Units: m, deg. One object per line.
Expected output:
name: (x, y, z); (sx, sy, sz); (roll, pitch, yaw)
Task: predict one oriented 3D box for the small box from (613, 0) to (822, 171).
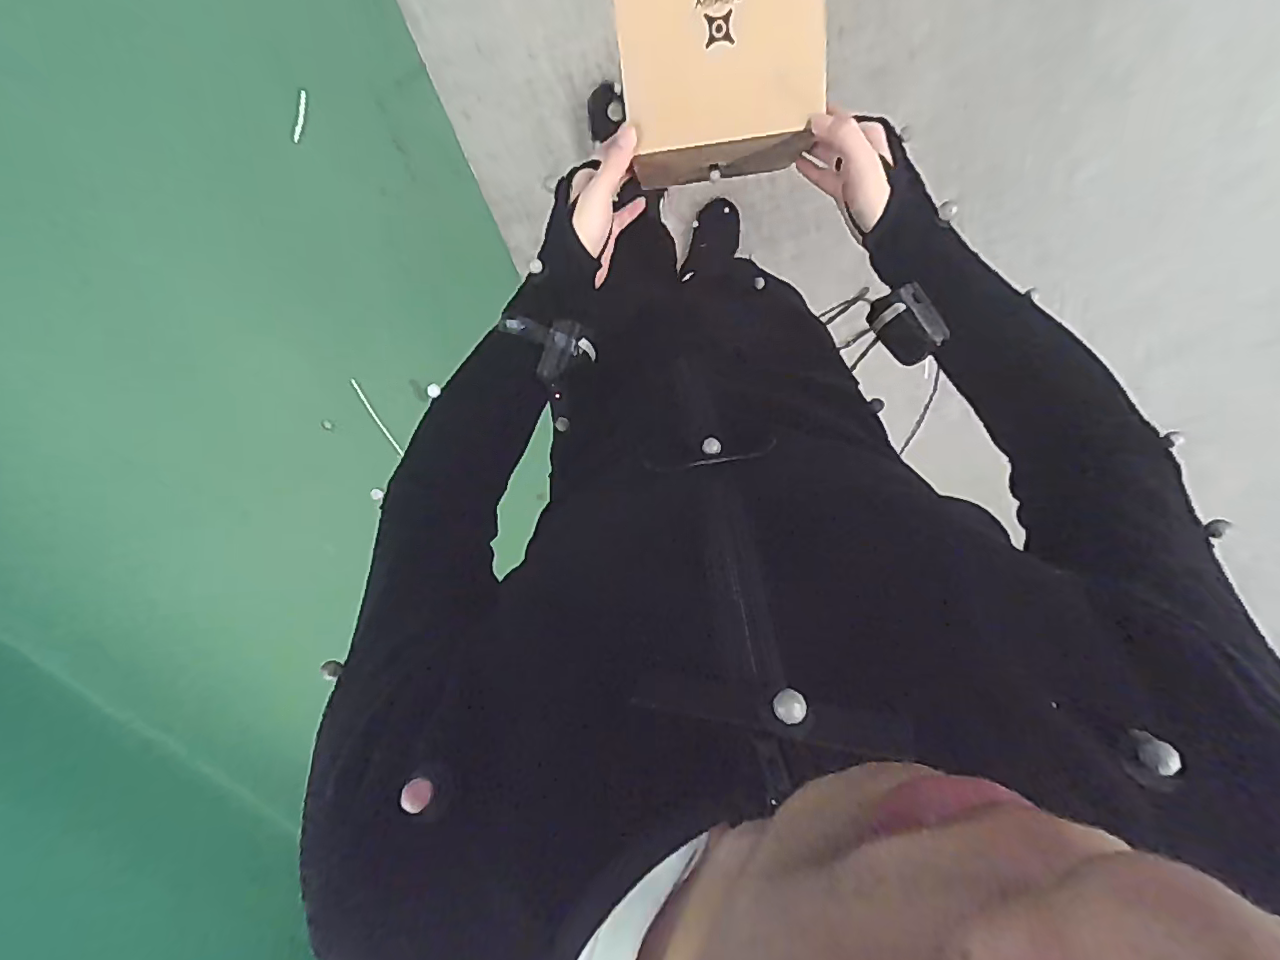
small box: (0.068, -0.402, 0.502); (0.168, 0.176, 0.179); (-5, 109, 6)
